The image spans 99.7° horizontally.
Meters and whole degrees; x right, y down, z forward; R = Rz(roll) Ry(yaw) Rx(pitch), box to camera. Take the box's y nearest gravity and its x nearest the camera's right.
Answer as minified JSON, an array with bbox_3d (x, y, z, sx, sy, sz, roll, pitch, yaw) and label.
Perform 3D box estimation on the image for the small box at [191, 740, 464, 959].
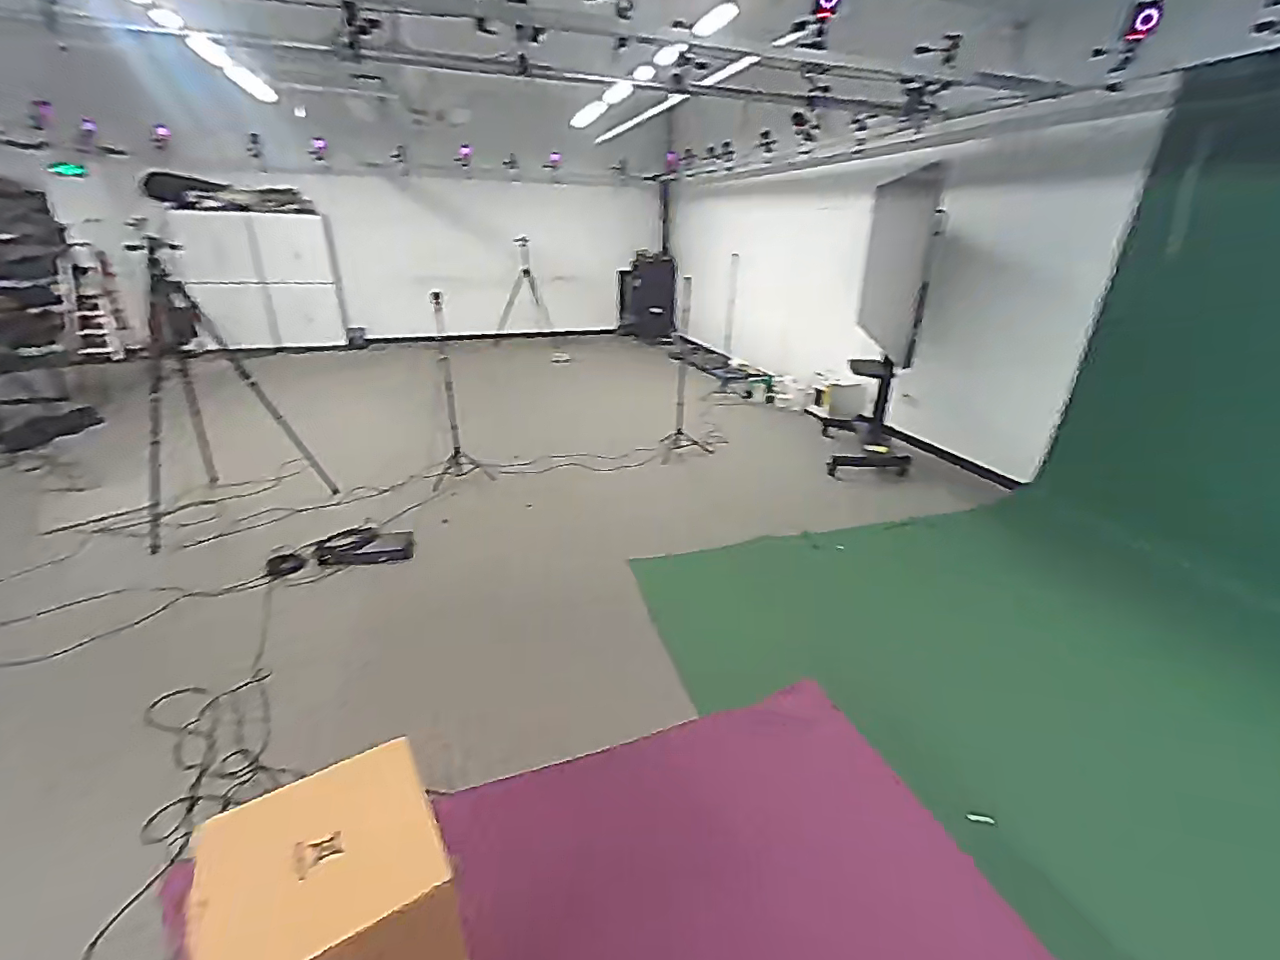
[{"bbox_3d":[-0.266,0.384,0.481,0.179,0.176,0.168,-14,30,-32],"label":"small box"}]
